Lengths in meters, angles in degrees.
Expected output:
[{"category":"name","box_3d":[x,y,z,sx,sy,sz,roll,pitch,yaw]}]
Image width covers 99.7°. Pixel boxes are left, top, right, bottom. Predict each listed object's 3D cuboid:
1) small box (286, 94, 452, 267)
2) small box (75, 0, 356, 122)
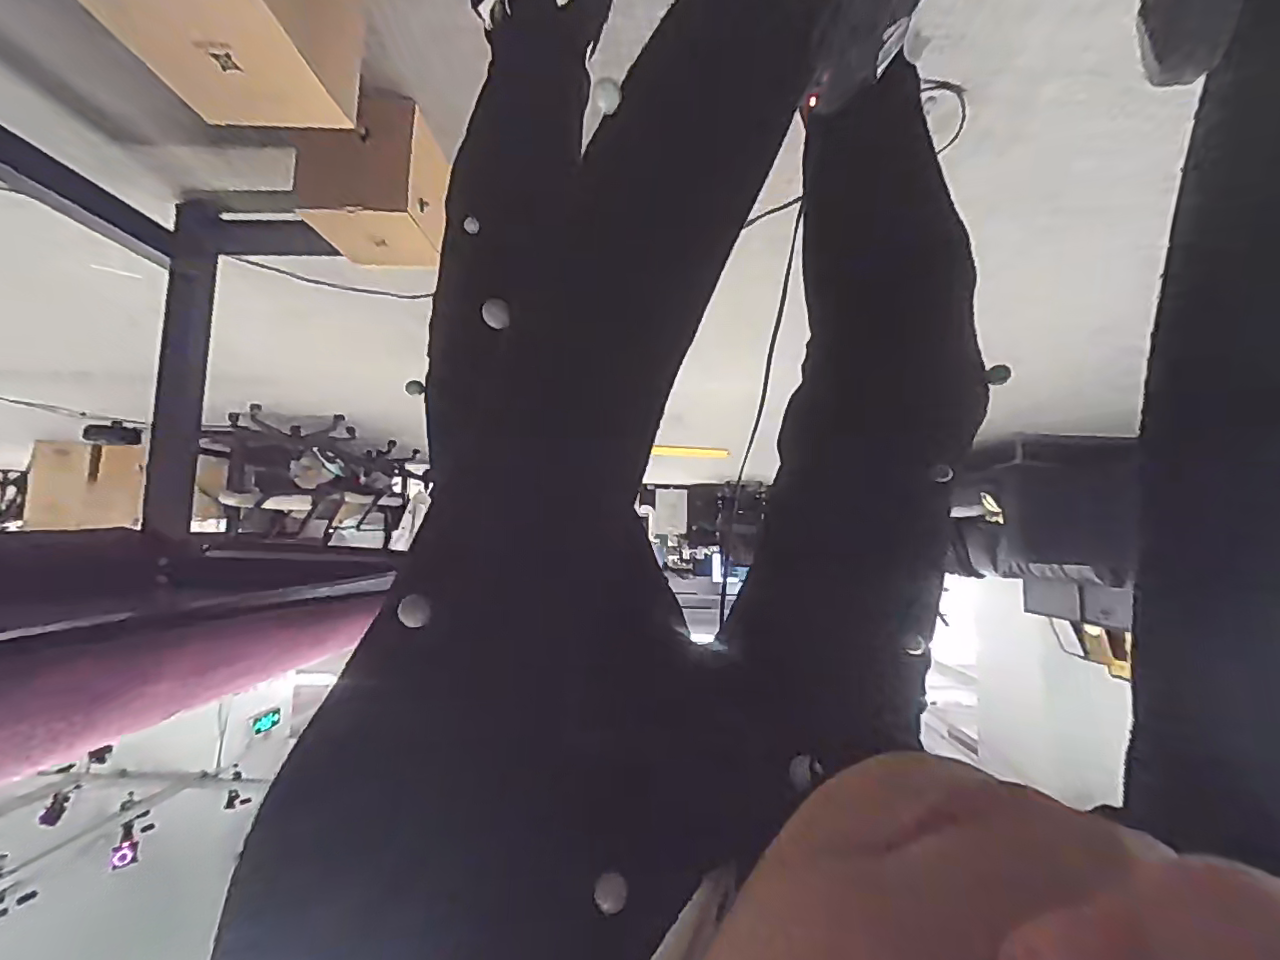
[{"category":"small box","box_3d":[-0.402,-0.452,0.834,0.168,0.176,0.179,2,174,2]},{"category":"small box","box_3d":[-0.395,-0.482,0.510,0.168,0.176,0.179,3,175,1]}]
